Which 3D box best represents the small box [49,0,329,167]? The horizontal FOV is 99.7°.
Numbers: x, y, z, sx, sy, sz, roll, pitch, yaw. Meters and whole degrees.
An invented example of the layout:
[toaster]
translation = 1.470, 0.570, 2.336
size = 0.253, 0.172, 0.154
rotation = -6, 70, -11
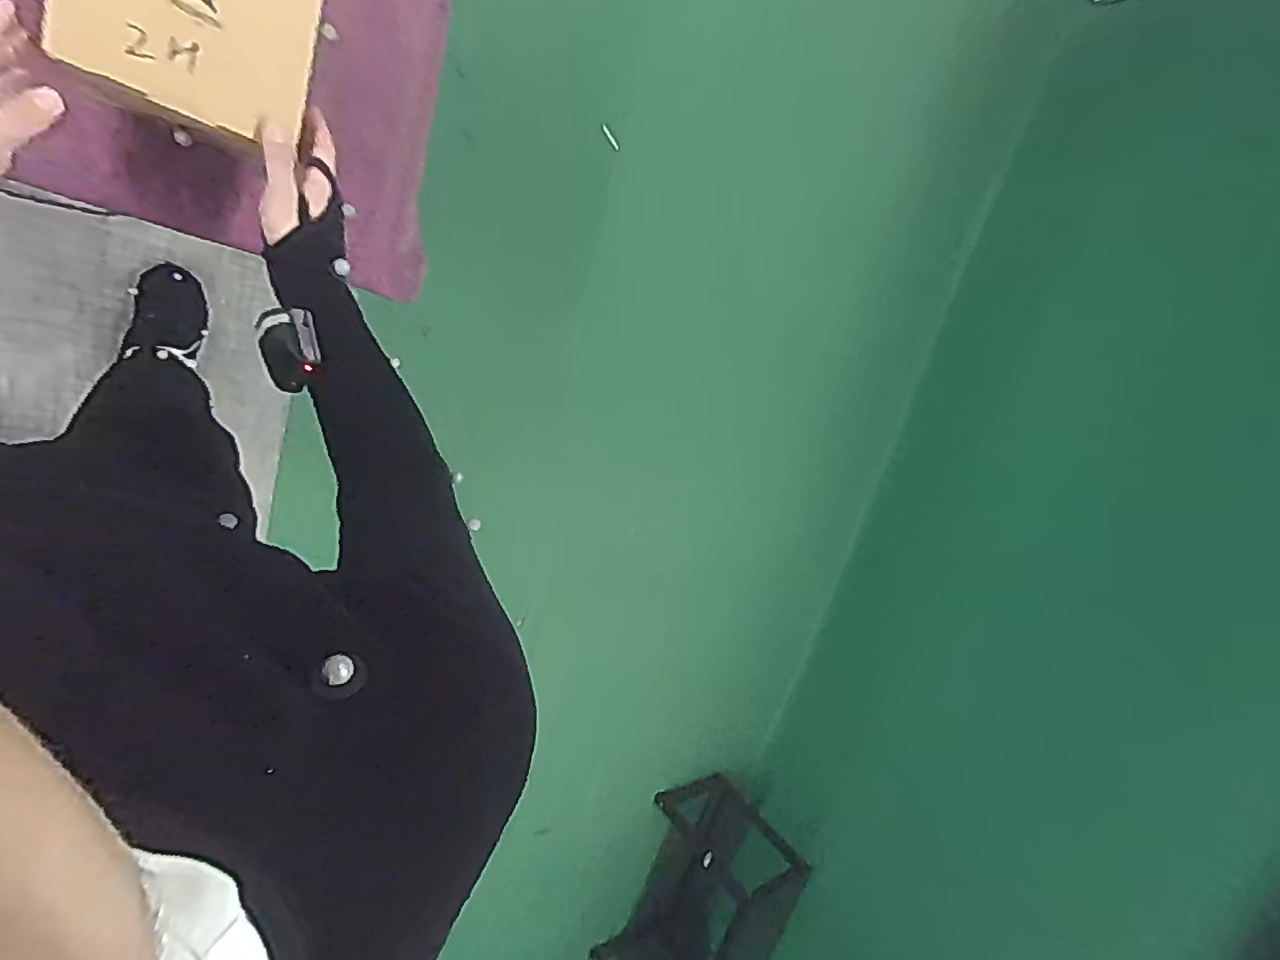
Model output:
[small box]
translation = -0.410, -0.423, 0.505
size = 0.168, 0.176, 0.179
rotation = 9, 105, -41
